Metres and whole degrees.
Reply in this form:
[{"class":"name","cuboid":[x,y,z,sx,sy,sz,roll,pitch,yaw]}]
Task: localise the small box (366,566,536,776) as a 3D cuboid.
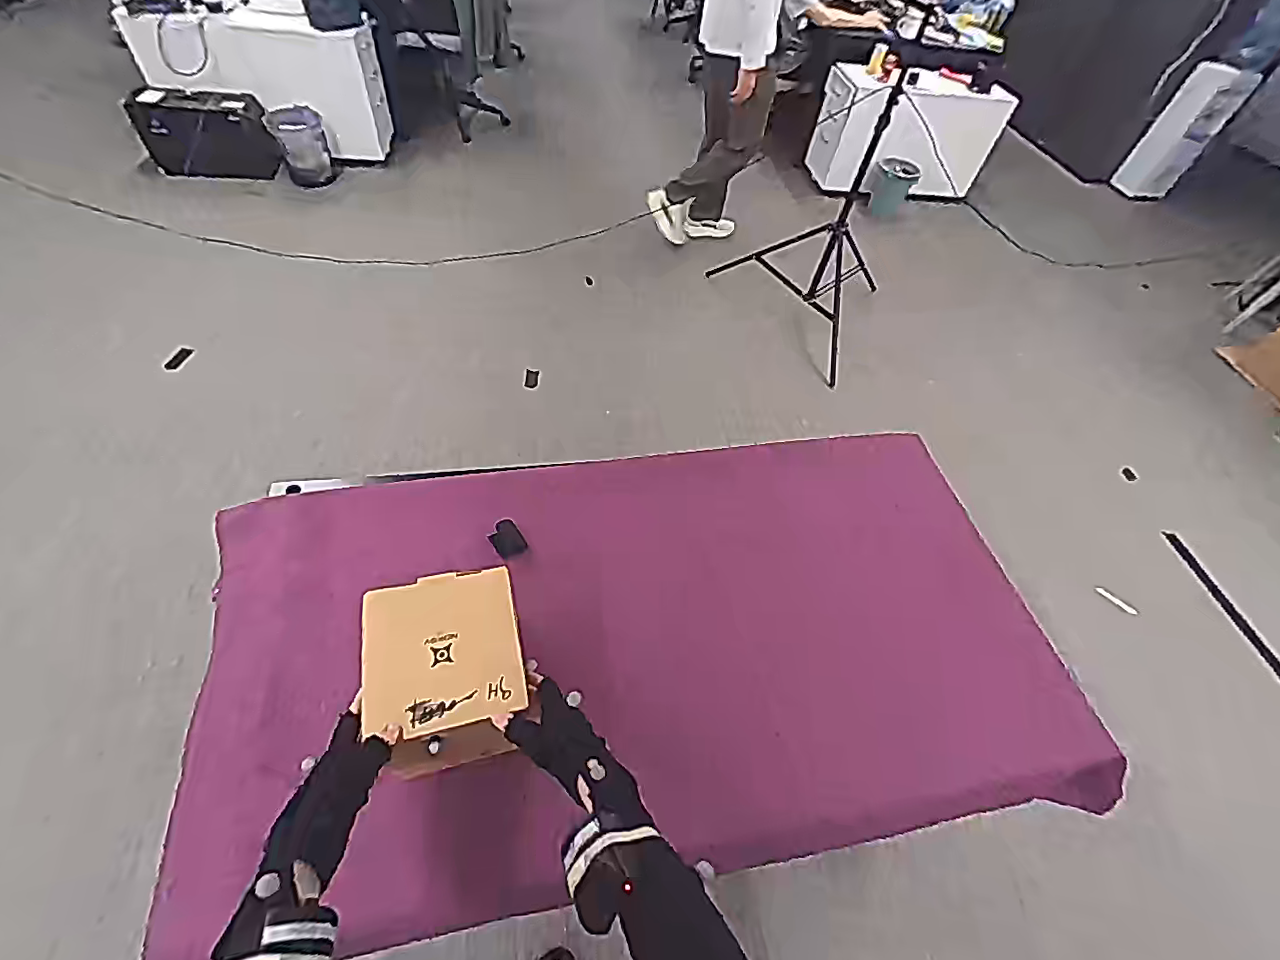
[{"class":"small box","cuboid":[-0.222,0.233,0.660,0.168,0.176,0.179,-9,53,-15]}]
